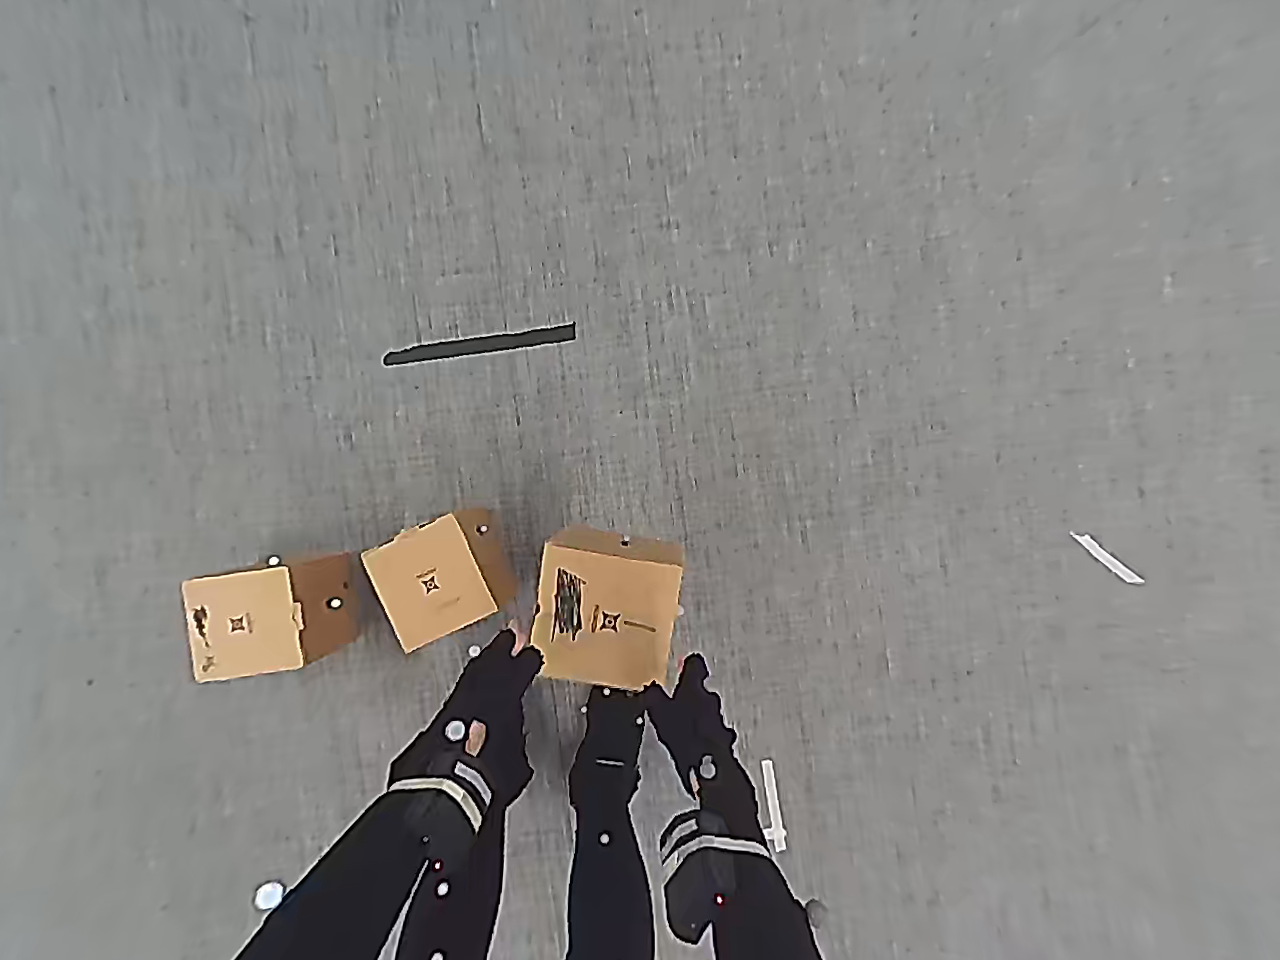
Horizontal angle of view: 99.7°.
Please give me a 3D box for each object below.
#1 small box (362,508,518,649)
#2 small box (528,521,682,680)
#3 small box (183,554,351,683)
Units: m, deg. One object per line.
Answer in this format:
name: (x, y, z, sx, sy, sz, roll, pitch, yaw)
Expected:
small box: (-0.333, 0.158, 0.934, 0.168, 0.176, 0.179, -26, 91, 0)
small box: (-0.042, 0.156, 0.763, 0.179, 0.176, 0.168, 9, 93, 2)
small box: (-0.622, 0.227, 0.929, 0.179, 0.176, 0.168, -8, 90, -1)
